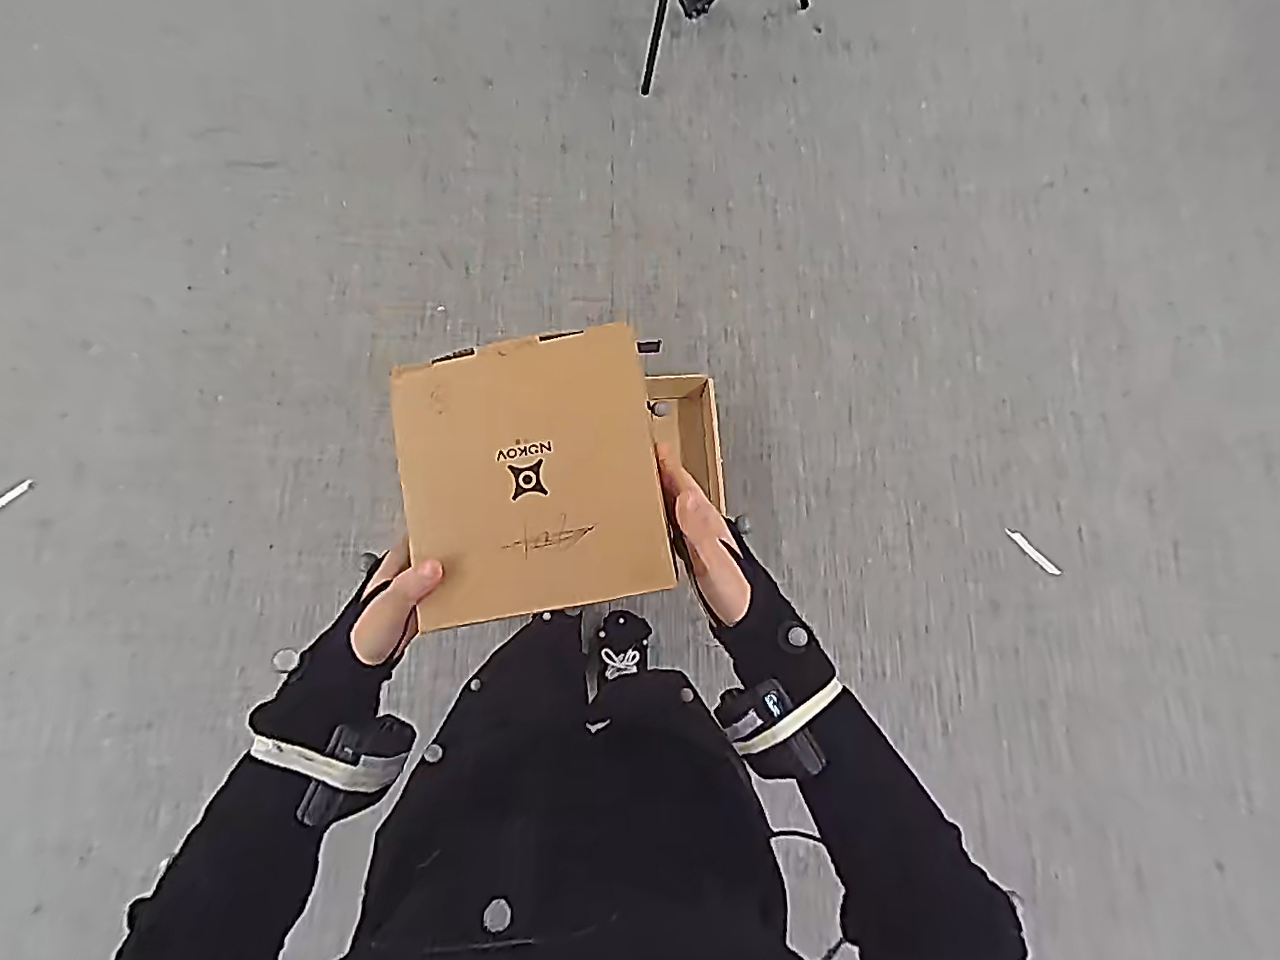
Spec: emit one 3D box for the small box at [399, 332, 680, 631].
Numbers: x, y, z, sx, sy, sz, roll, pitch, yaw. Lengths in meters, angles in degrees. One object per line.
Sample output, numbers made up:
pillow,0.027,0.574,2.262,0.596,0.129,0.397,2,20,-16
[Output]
small box,-0.064,0.008,0.428,0.168,0.176,0.179,-10,84,3
